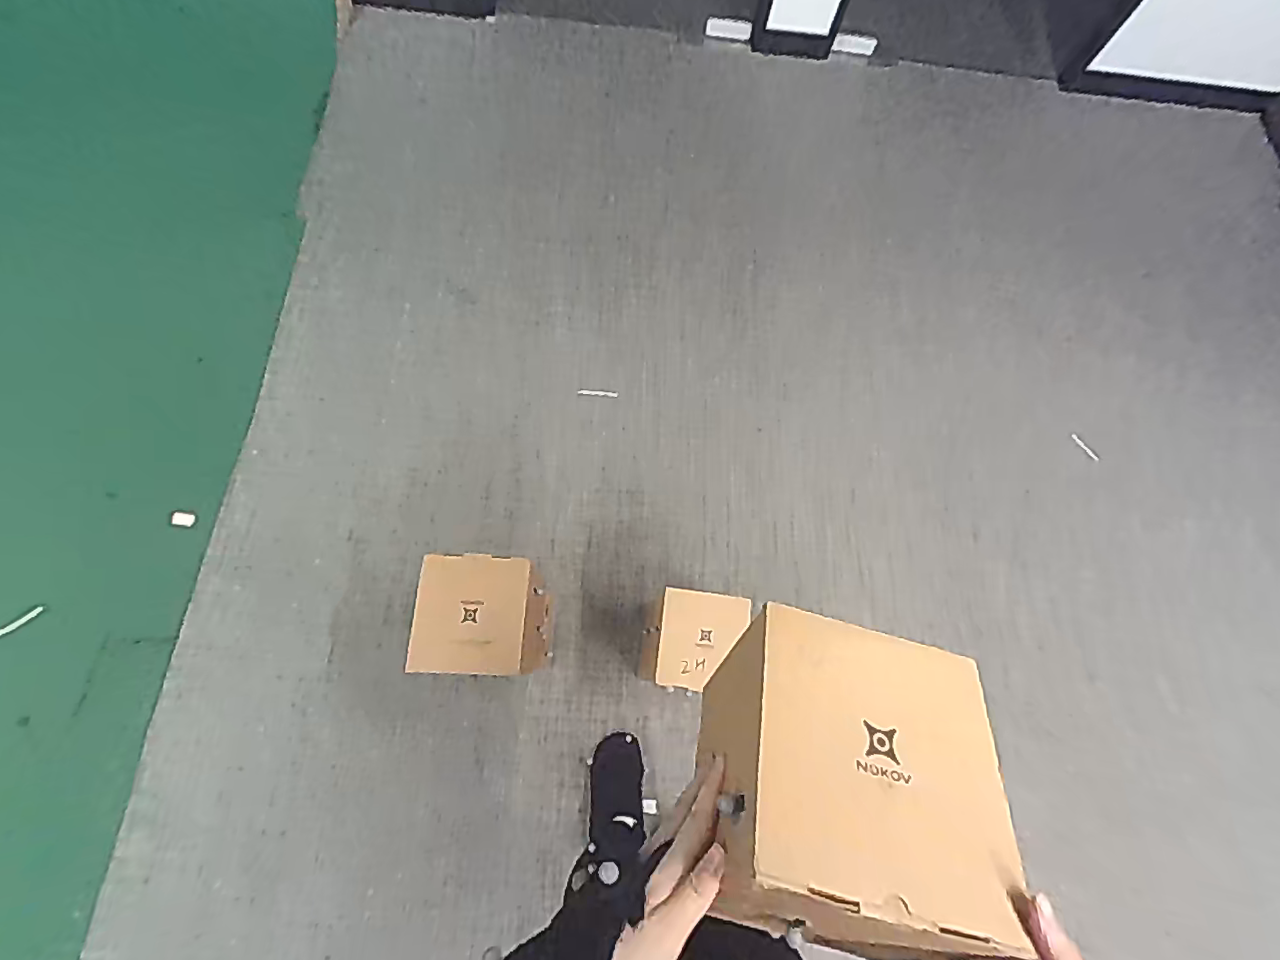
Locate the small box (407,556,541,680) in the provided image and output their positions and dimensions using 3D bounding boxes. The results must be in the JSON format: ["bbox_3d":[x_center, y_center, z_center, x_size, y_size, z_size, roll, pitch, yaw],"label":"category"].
[{"bbox_3d":[-0.256,0.227,0.877,0.168,0.176,0.179,2,72,-3],"label":"small box"}]

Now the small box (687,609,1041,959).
[{"bbox_3d":[0.142,0.232,0.410,0.168,0.176,0.179,16,48,-1],"label":"small box"}]

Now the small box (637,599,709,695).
[{"bbox_3d":[0.091,0.374,1.211,0.168,0.176,0.179,11,72,-2],"label":"small box"}]

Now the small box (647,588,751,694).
[{"bbox_3d":[0.109,0.320,1.056,0.168,0.176,0.179,9,71,-2],"label":"small box"}]
